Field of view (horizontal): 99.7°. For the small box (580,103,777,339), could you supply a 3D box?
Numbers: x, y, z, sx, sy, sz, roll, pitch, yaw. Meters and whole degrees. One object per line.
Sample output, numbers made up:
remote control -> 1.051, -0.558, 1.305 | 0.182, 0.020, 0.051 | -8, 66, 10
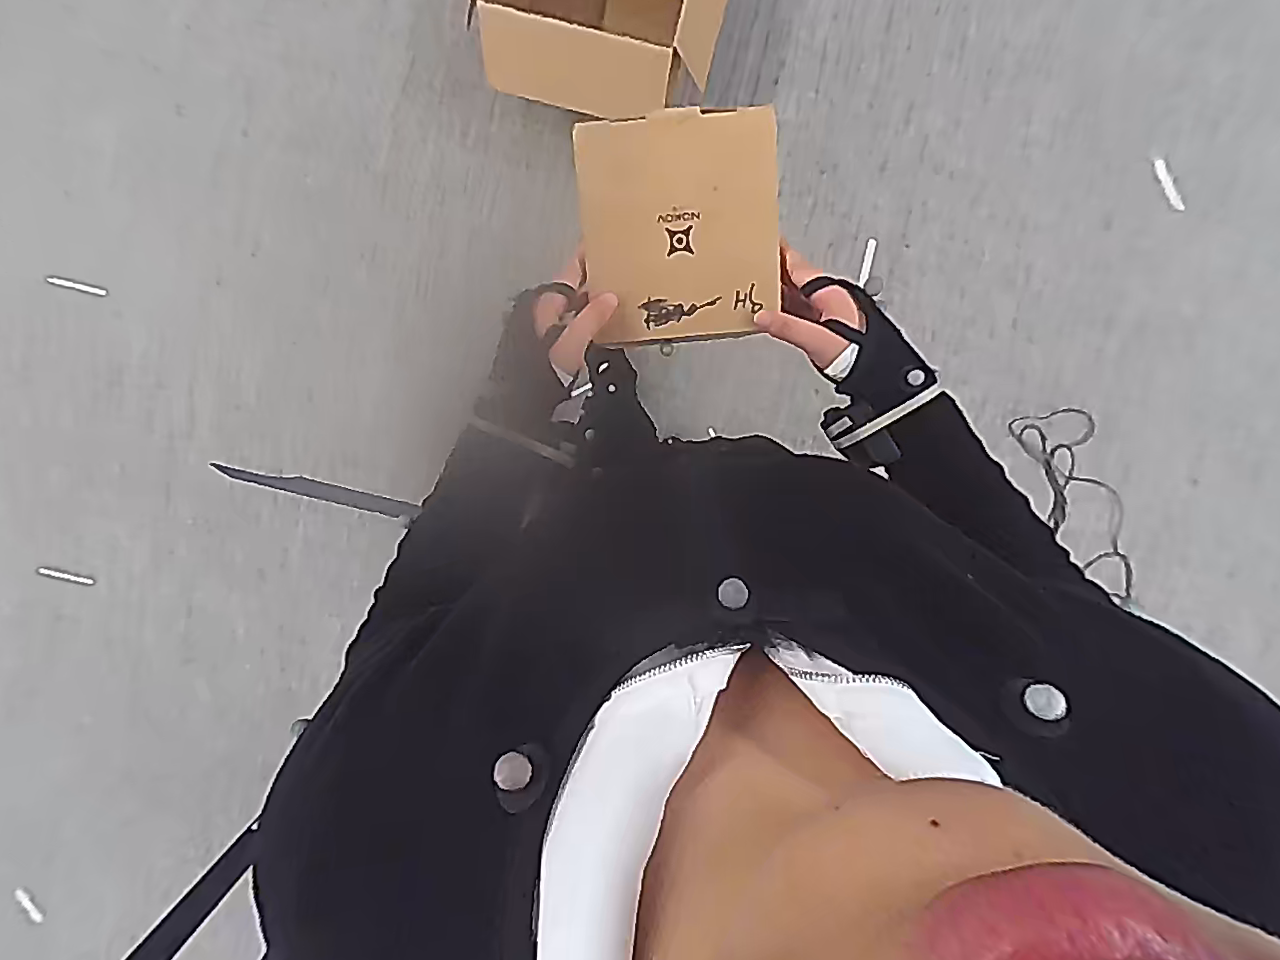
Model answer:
small box -> 0.035, -0.238, 0.540 | 0.168, 0.176, 0.179 | -4, 104, 2
